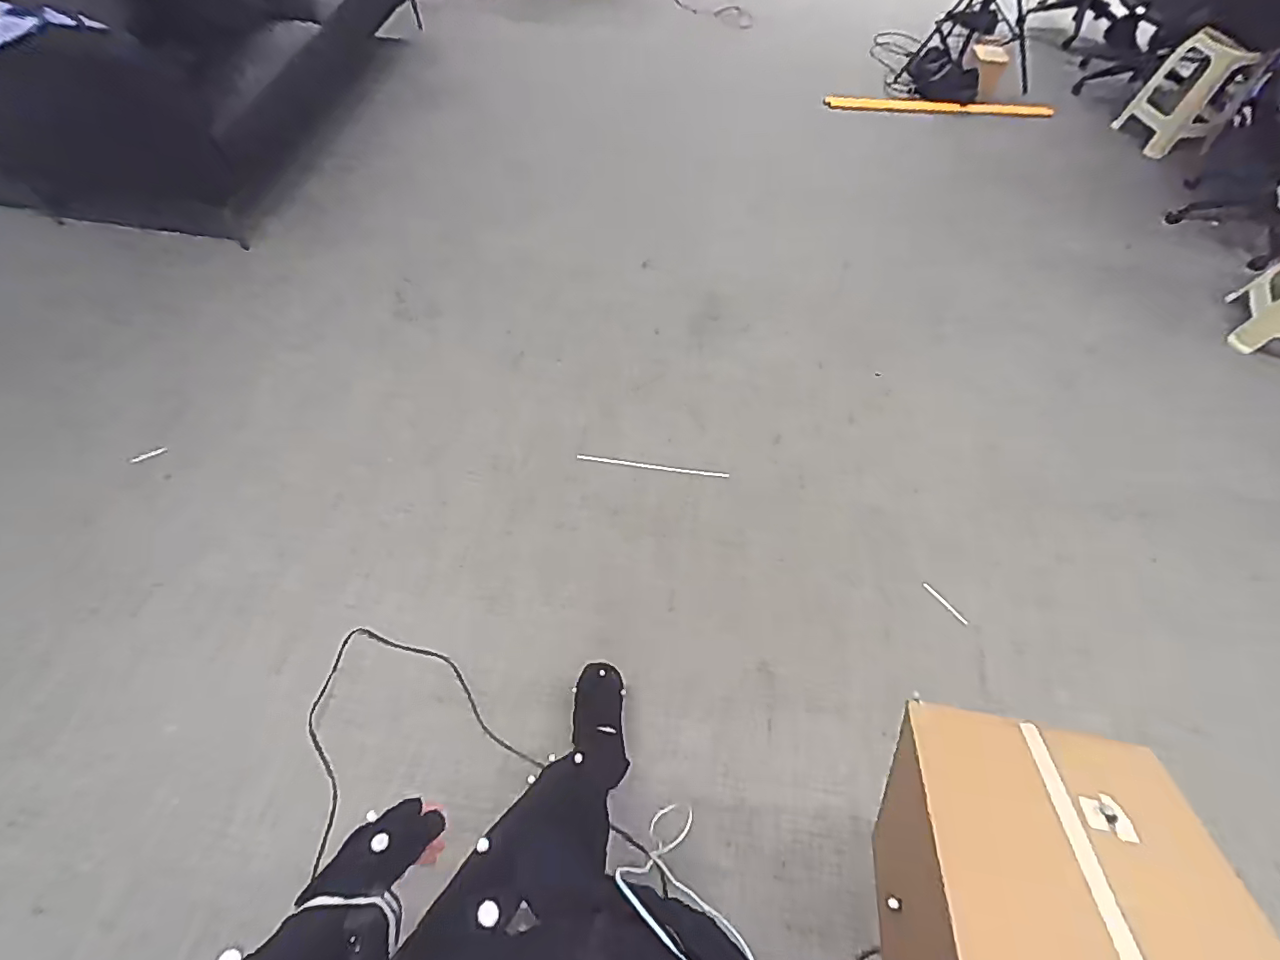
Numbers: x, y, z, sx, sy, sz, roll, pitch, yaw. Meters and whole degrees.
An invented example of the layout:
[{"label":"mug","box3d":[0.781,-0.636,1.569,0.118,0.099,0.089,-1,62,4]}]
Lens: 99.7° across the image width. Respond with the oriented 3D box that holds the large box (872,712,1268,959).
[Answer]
[{"label":"large box","box3d":[0.494,0.583,0.677,0.320,0.320,0.408,7,24,15]}]
